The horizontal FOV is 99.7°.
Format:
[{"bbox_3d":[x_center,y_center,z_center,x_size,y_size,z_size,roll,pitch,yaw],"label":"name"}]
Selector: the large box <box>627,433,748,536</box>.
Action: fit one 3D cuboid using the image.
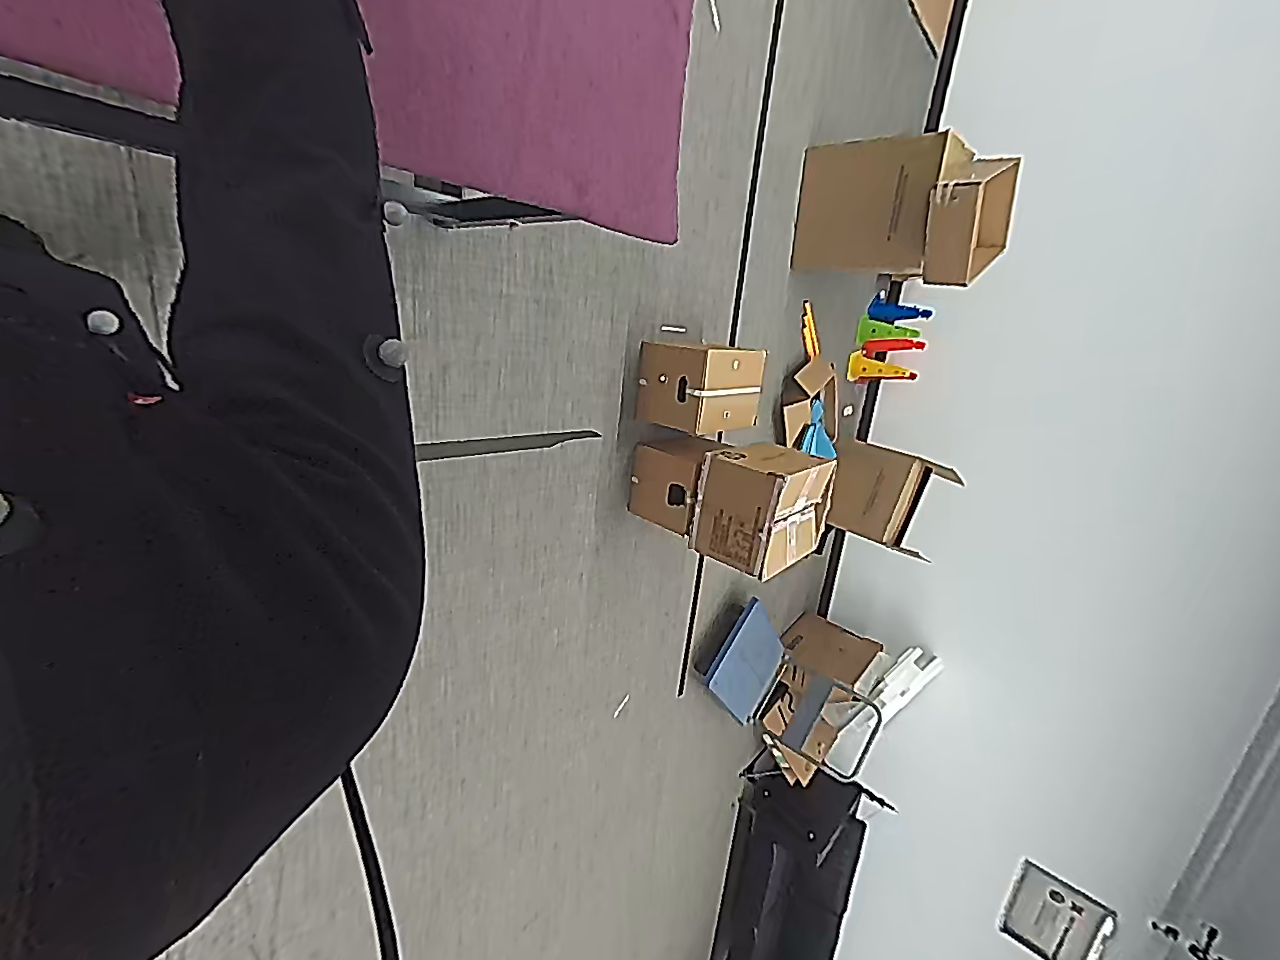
[{"bbox_3d":[0.202,0.000,2.290,0.408,0.320,0.320,-13,115,-46],"label":"large box"}]
